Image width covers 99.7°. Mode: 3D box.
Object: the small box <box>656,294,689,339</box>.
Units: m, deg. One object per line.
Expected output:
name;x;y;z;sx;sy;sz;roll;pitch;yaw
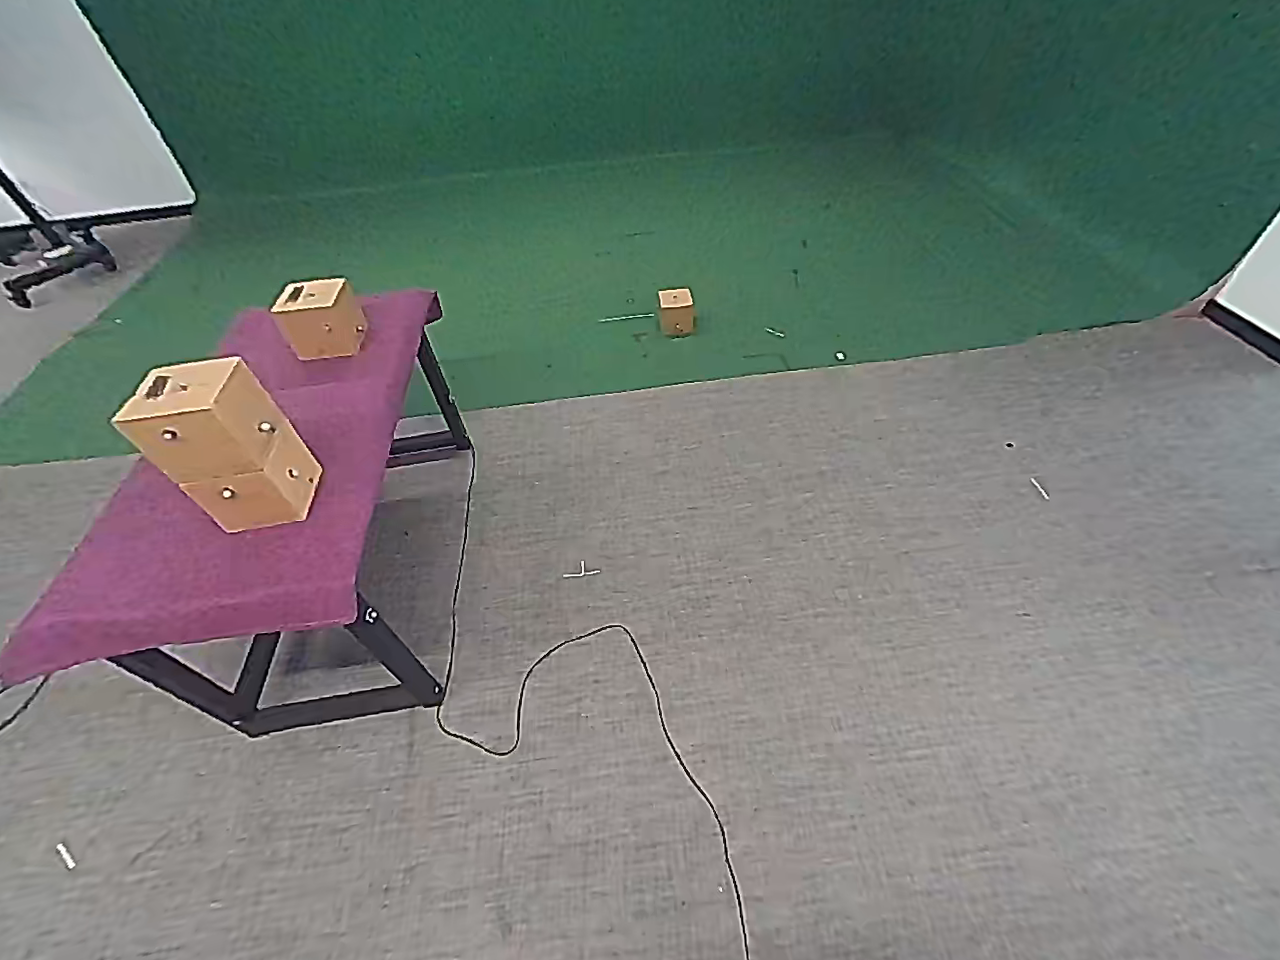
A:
small box;0.171;-0.876;2.899;0.168;0.176;0.179;-5;48;-1

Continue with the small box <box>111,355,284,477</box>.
small box;-0.861;-0.123;1.074;0.179;0.176;0.168;-8;48;-4

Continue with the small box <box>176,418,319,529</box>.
small box;-0.849;-0.012;1.194;0.179;0.176;0.168;-9;48;-3
